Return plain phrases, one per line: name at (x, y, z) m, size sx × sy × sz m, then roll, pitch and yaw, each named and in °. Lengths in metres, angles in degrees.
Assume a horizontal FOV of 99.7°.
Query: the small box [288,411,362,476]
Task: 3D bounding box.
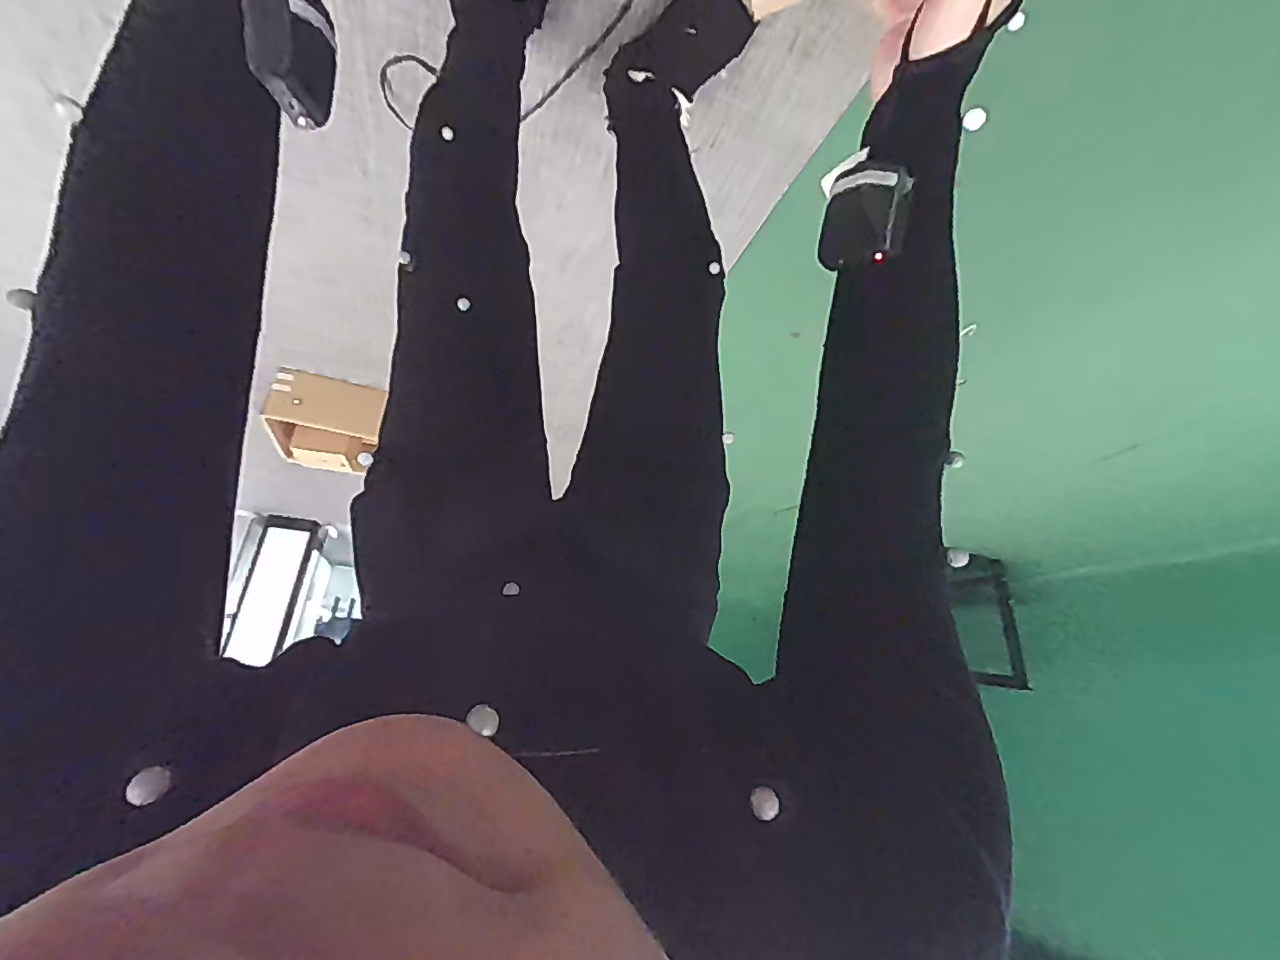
small box at (-1.139, -0.135, 1.969) m, size 0.179 × 0.176 × 0.168 m, roll 10°, pitch 156°, yaw -14°
